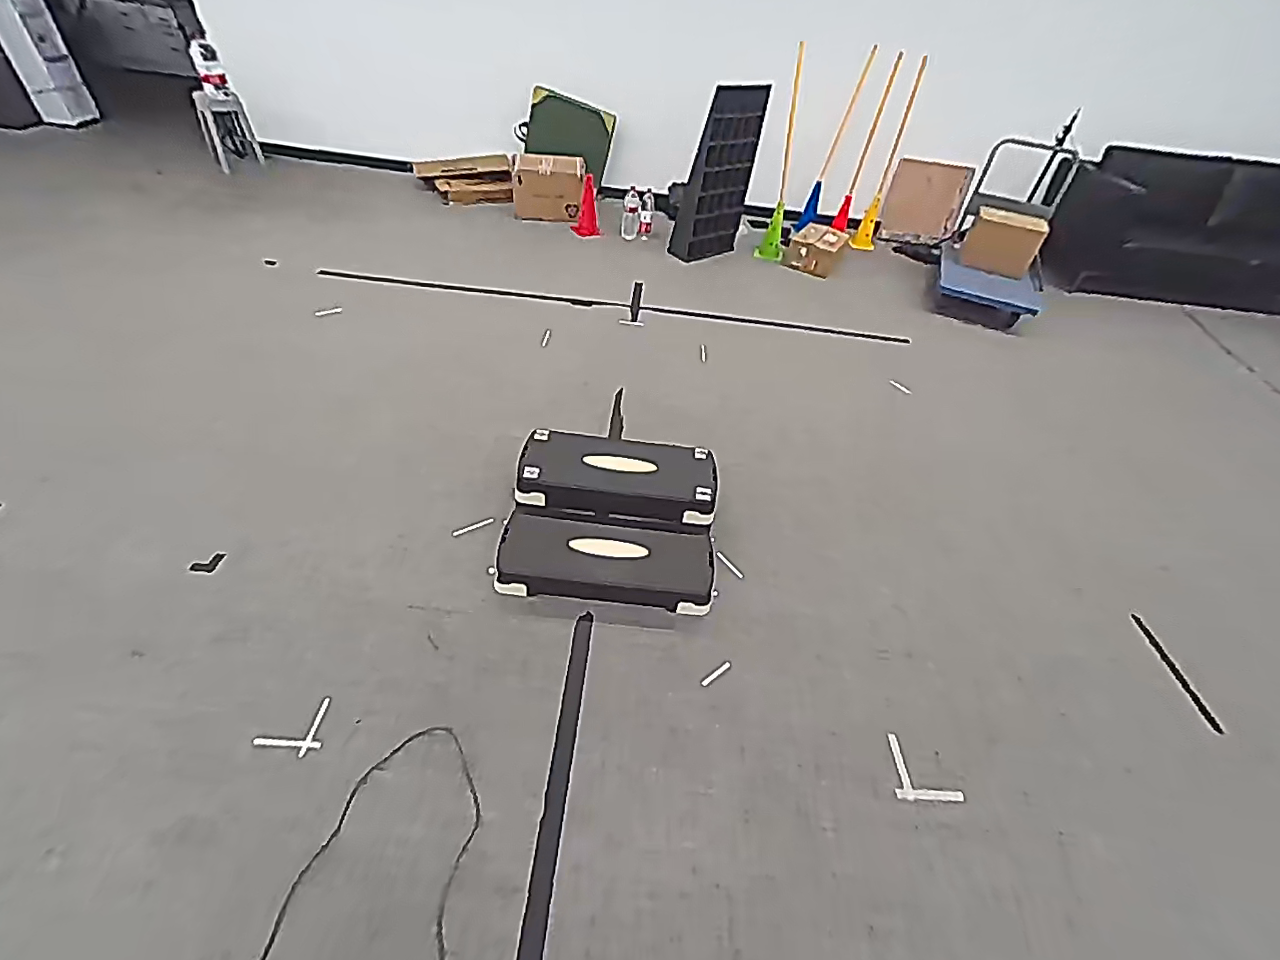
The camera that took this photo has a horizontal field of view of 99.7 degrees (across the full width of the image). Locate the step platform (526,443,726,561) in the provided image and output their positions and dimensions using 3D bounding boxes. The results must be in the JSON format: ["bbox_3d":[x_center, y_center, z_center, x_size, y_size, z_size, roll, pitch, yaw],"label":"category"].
[{"bbox_3d":[-0.044,0.069,1.887,0.684,0.204,0.286,10,42,1],"label":"step platform"}]
